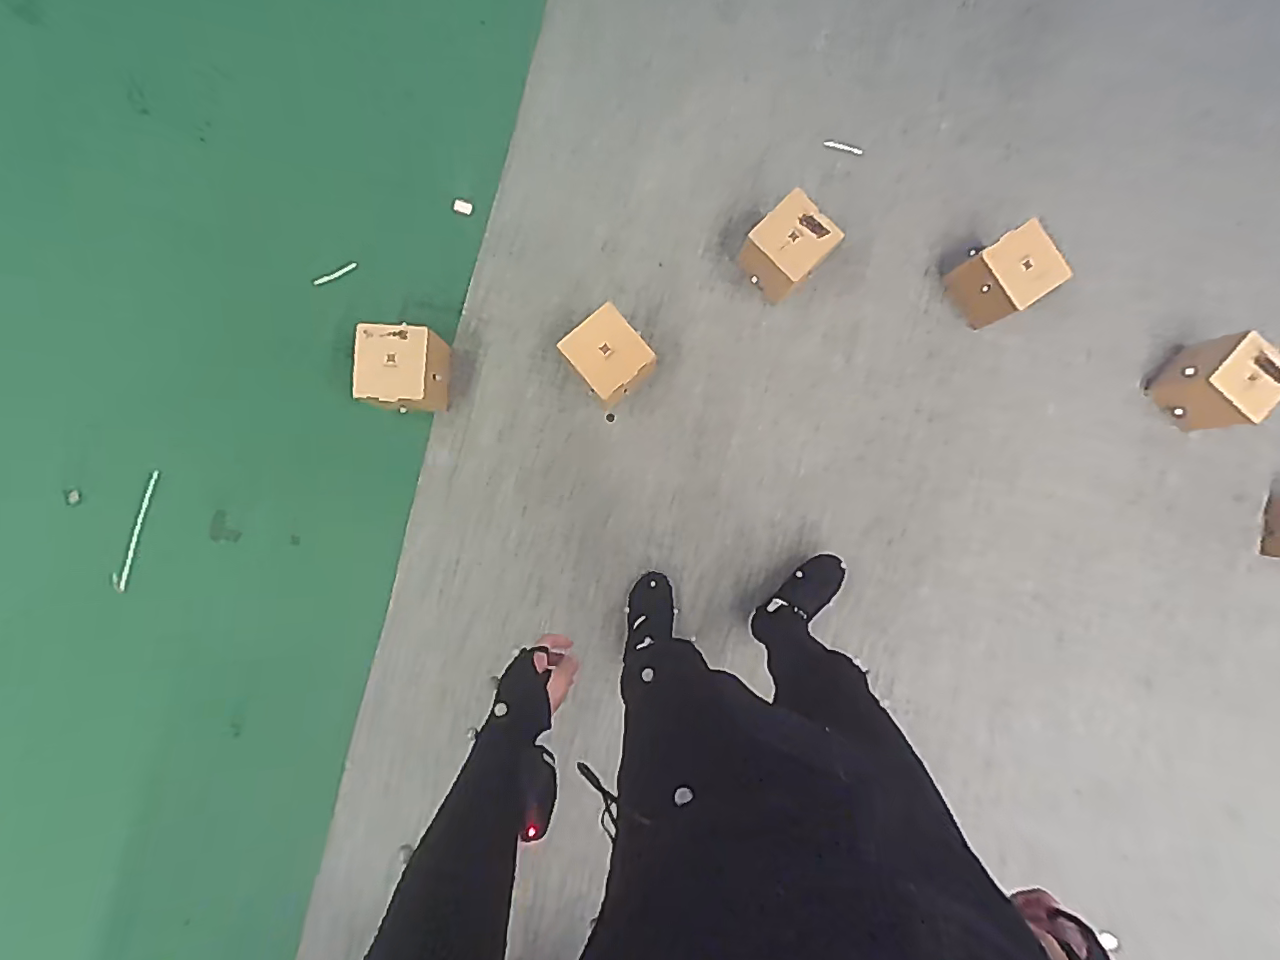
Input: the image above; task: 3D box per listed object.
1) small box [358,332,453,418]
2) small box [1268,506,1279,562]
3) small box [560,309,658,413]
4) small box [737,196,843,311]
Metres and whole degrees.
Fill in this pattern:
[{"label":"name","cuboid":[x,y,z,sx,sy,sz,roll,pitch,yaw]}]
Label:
[{"label":"small box","cuboid":[-0.572,-0.253,1.338,0.168,0.176,0.179,3,87,-2]},{"label":"small box","cuboid":[1.799,0.148,1.392,0.179,0.176,0.168,10,88,-1]},{"label":"small box","cuboid":[-0.078,-0.288,1.357,0.168,0.176,0.179,-41,90,-3]},{"label":"small box","cuboid":[0.373,-0.570,1.382,0.179,0.176,0.168,-44,89,-3]}]
